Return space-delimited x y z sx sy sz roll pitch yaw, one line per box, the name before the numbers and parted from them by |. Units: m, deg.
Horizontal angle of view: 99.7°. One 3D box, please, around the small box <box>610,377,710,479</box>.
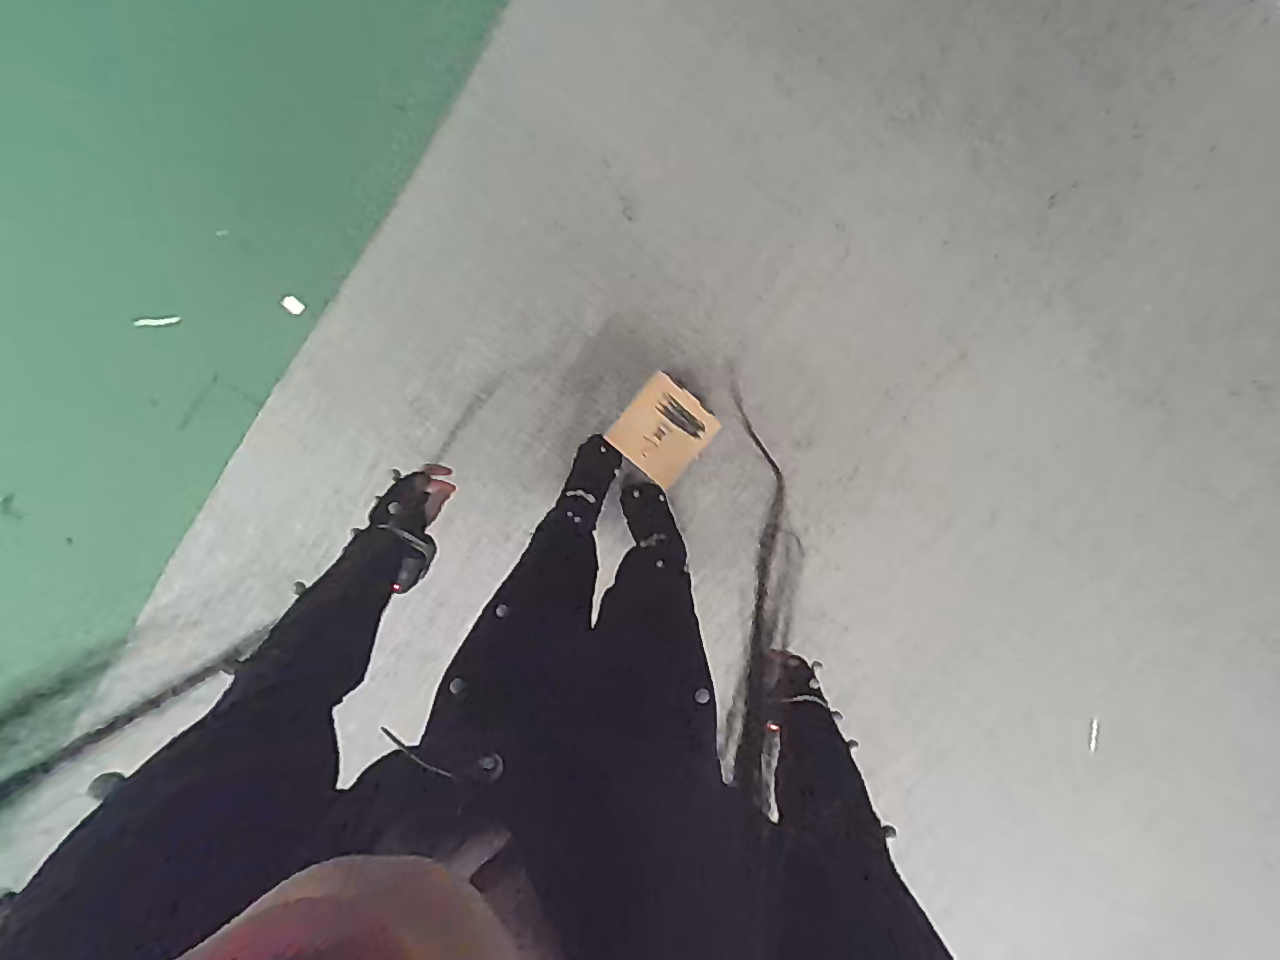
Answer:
small box | 0.051 -0.129 1.302 0.168 0.176 0.179 39 100 -4
